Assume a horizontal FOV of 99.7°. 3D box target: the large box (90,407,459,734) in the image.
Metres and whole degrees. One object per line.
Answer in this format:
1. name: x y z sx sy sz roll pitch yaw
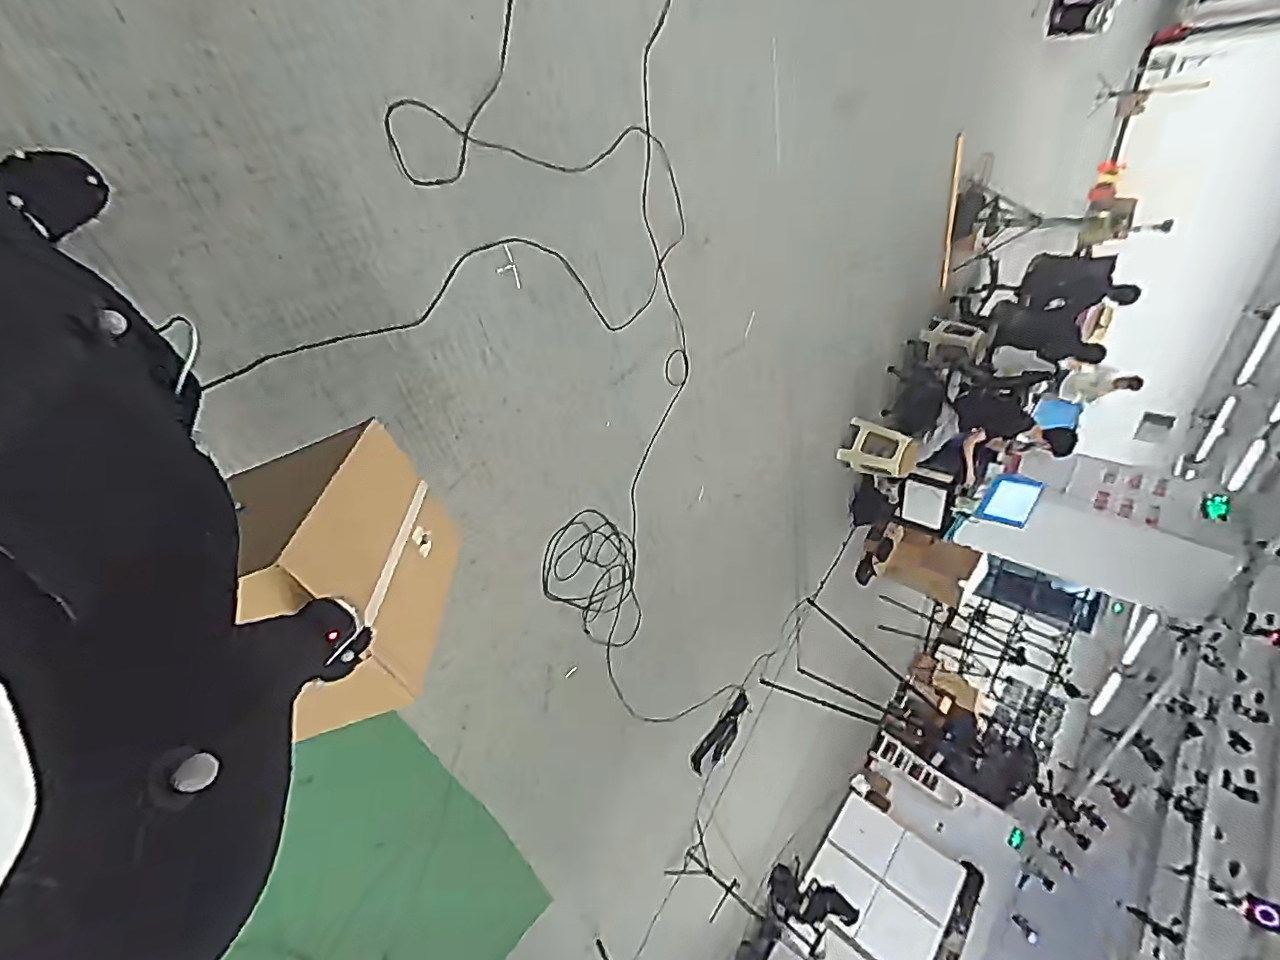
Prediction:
1. large box: -0.559 0.141 0.930 0.320 0.408 0.320 -20 123 6
